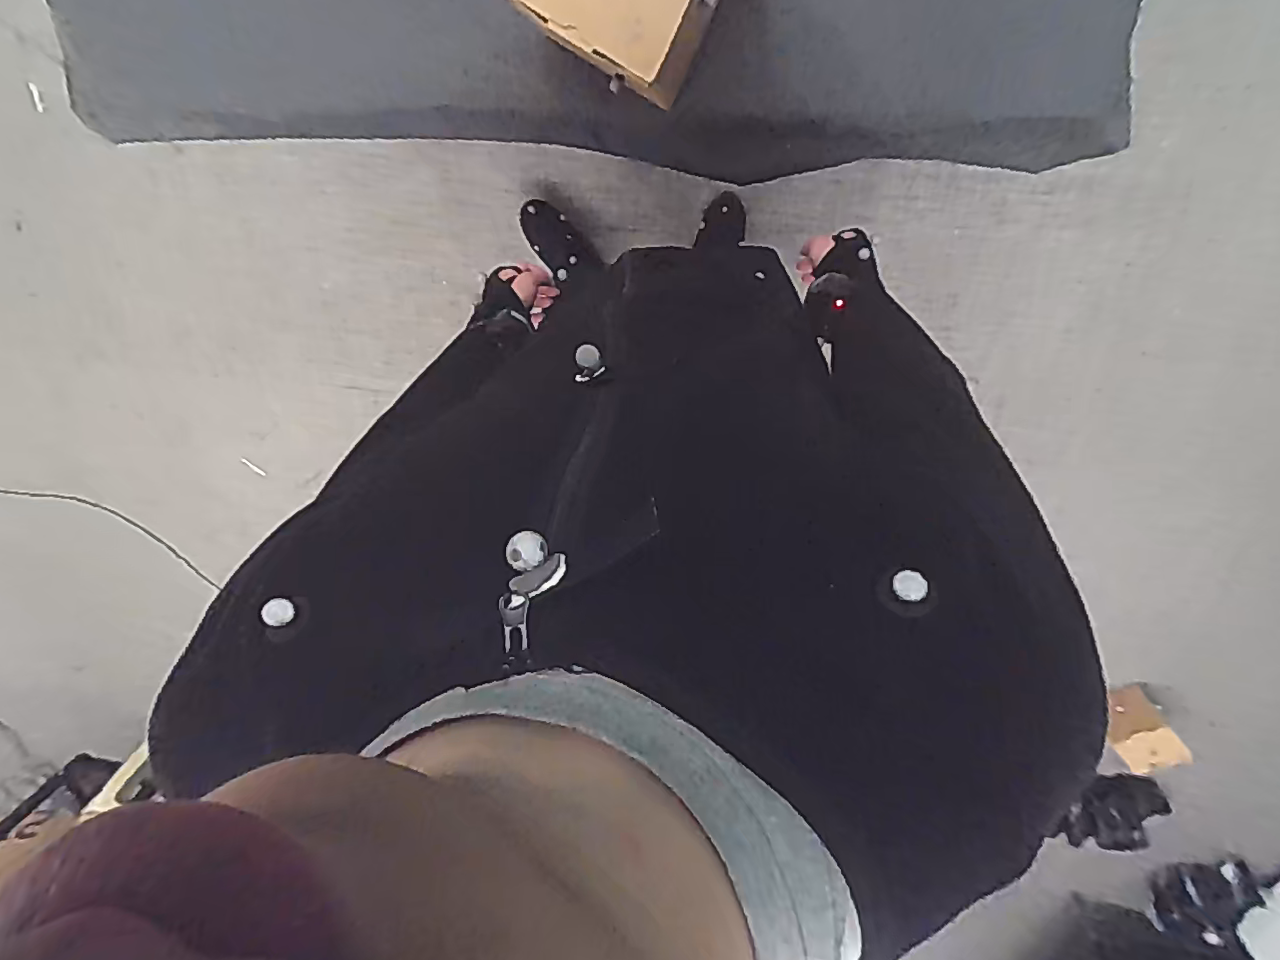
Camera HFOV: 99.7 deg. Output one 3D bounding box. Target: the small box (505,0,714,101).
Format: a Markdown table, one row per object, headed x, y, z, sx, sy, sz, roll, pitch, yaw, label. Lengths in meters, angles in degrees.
| x | y | z | sx | sy | sz | roll | pitch | yaw | label |
| --- | --- | --- | --- | --- | --- | --- | --- | --- | --- |
| -0.012 | -0.490 | 0.500 | 0.168 | 0.176 | 0.179 | 27 | 118 | -7 | small box |
